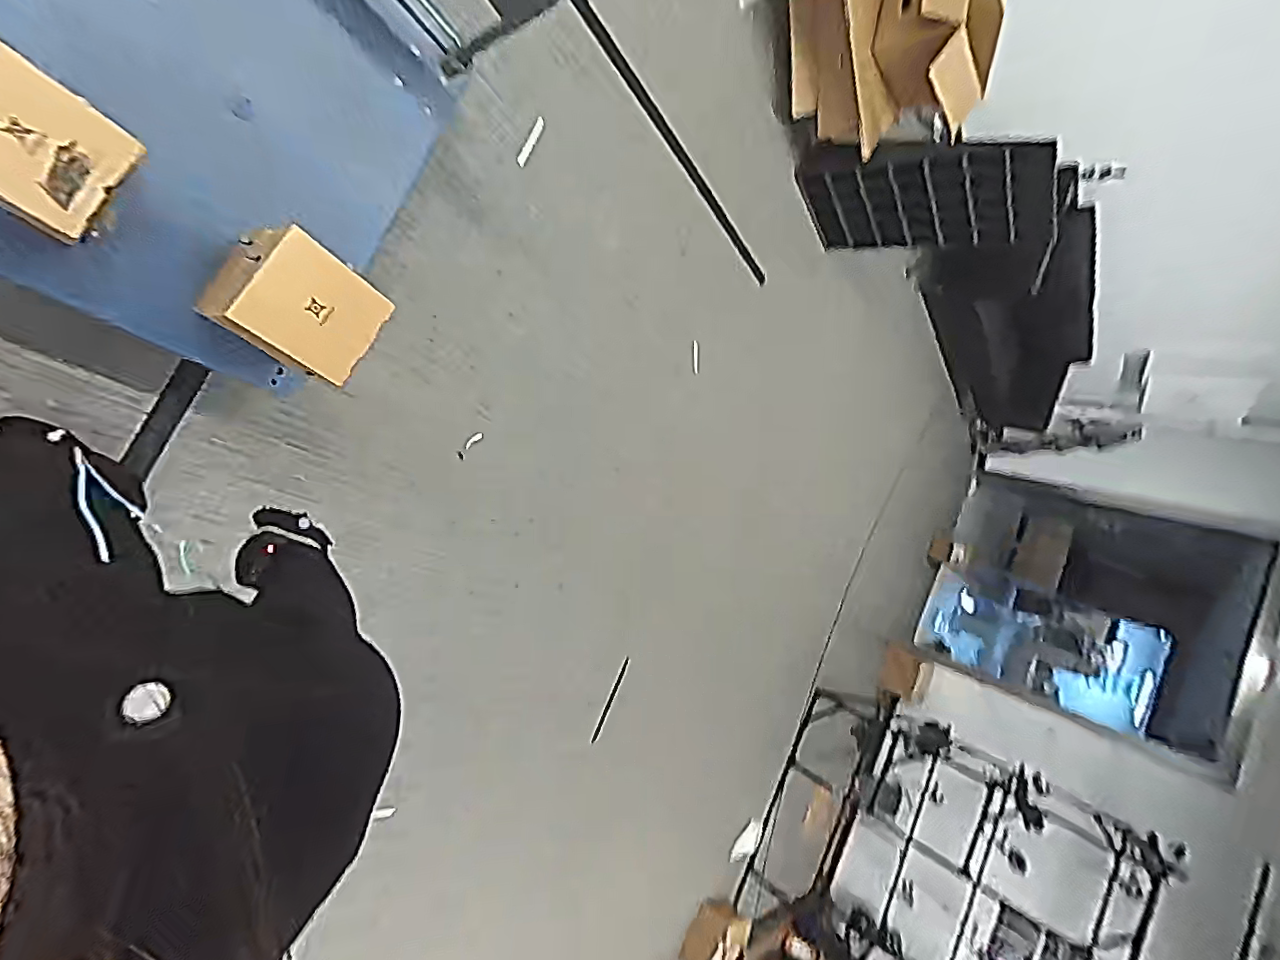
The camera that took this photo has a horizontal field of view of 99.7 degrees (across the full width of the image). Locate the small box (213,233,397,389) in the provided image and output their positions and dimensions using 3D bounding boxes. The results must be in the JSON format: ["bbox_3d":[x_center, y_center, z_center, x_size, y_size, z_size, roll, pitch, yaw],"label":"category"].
[{"bbox_3d":[-0.546,-0.269,0.880,0.179,0.176,0.168,41,73,-47],"label":"small box"}]

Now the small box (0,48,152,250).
[{"bbox_3d":[-0.838,-0.445,0.752,0.179,0.176,0.168,38,75,-46],"label":"small box"}]
